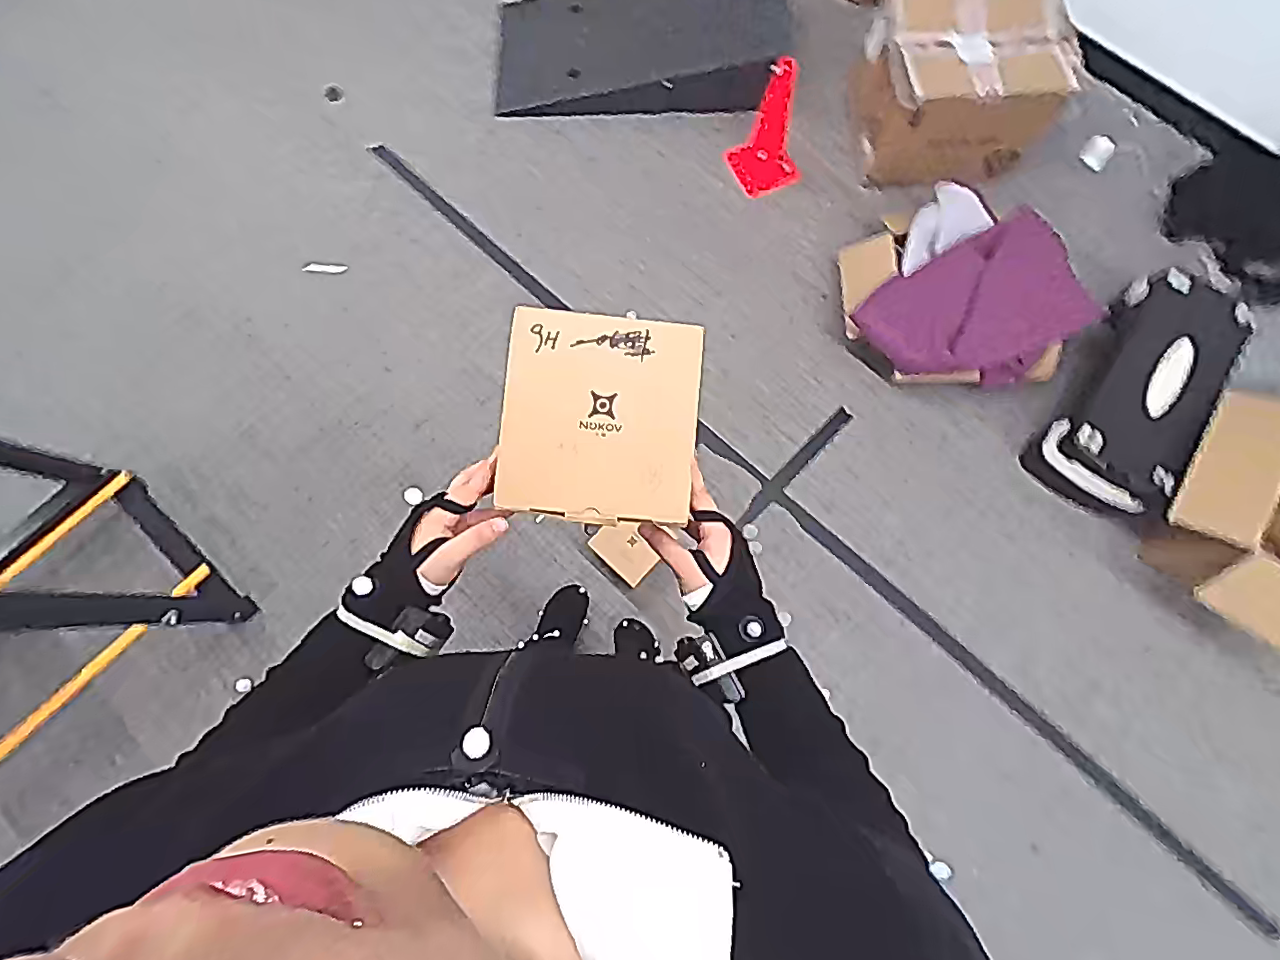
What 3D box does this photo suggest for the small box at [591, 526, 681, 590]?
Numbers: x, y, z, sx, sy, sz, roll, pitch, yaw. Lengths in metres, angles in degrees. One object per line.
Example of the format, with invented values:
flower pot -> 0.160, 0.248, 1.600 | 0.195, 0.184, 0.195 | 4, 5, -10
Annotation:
small box -> -0.011, 0.176, 1.445 | 0.168, 0.176, 0.179 | 42, 82, 10

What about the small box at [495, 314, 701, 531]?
small box -> -0.037, -0.045, 0.535 | 0.168, 0.176, 0.179 | 4, 87, -3
